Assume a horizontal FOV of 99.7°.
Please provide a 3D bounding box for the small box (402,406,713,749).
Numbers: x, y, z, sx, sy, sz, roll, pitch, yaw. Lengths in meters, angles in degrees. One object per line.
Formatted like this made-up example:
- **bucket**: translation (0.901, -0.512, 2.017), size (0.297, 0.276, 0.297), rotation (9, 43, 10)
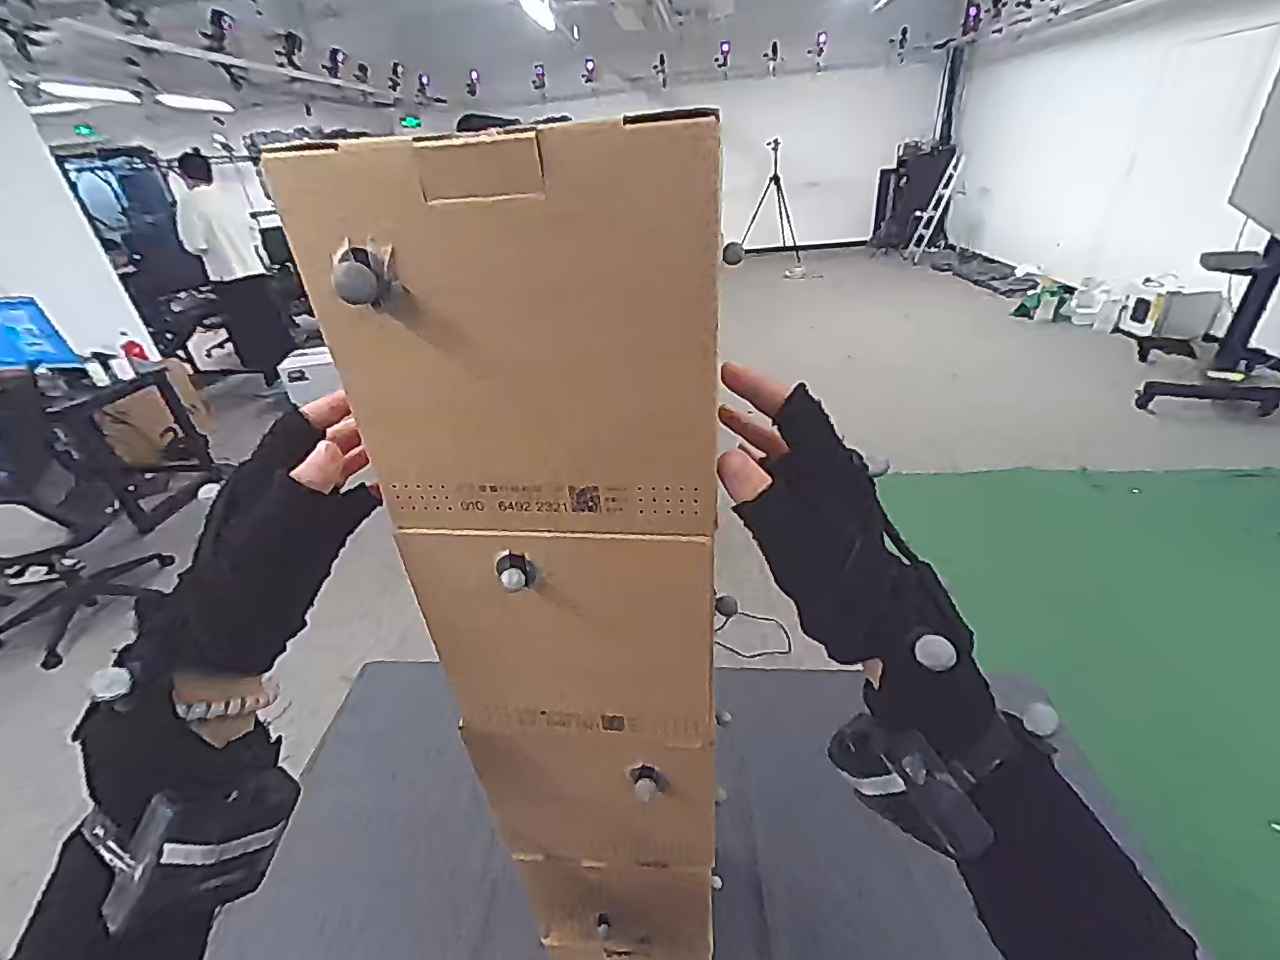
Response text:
- **small box**: translation (-0.033, 0.057, 0.387), size (0.168, 0.176, 0.179), rotation (0, 31, 8)

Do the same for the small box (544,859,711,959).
- **small box**: translation (-0.001, 0.476, 0.639), size (0.168, 0.176, 0.179), rotation (-2, 30, 6)

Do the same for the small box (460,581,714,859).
- **small box**: translation (-0.025, 0.197, 0.470), size (0.179, 0.176, 0.168), rotation (0, 31, 8)

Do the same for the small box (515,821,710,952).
- **small box**: translation (-0.014, 0.337, 0.557), size (0.168, 0.176, 0.179), rotation (-1, 31, 6)
